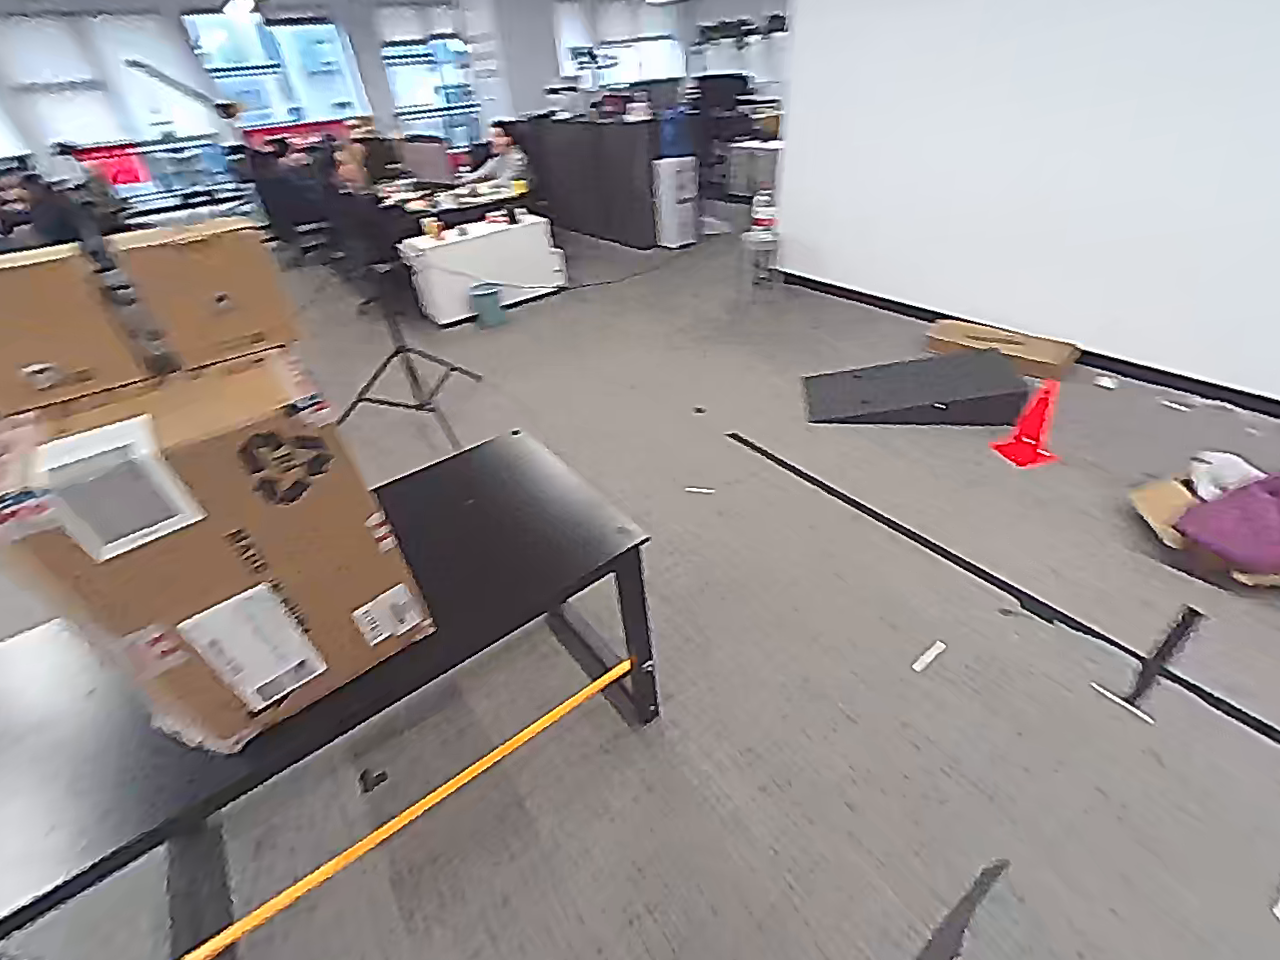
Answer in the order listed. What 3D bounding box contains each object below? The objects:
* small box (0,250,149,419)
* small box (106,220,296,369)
[{"bbox_3d":[-0.818,-0.201,0.734,0.168,0.176,0.179,-32,42,-31],"label":"small box"},{"bbox_3d":[-0.663,-0.284,0.828,0.168,0.176,0.179,-29,42,-32],"label":"small box"}]
